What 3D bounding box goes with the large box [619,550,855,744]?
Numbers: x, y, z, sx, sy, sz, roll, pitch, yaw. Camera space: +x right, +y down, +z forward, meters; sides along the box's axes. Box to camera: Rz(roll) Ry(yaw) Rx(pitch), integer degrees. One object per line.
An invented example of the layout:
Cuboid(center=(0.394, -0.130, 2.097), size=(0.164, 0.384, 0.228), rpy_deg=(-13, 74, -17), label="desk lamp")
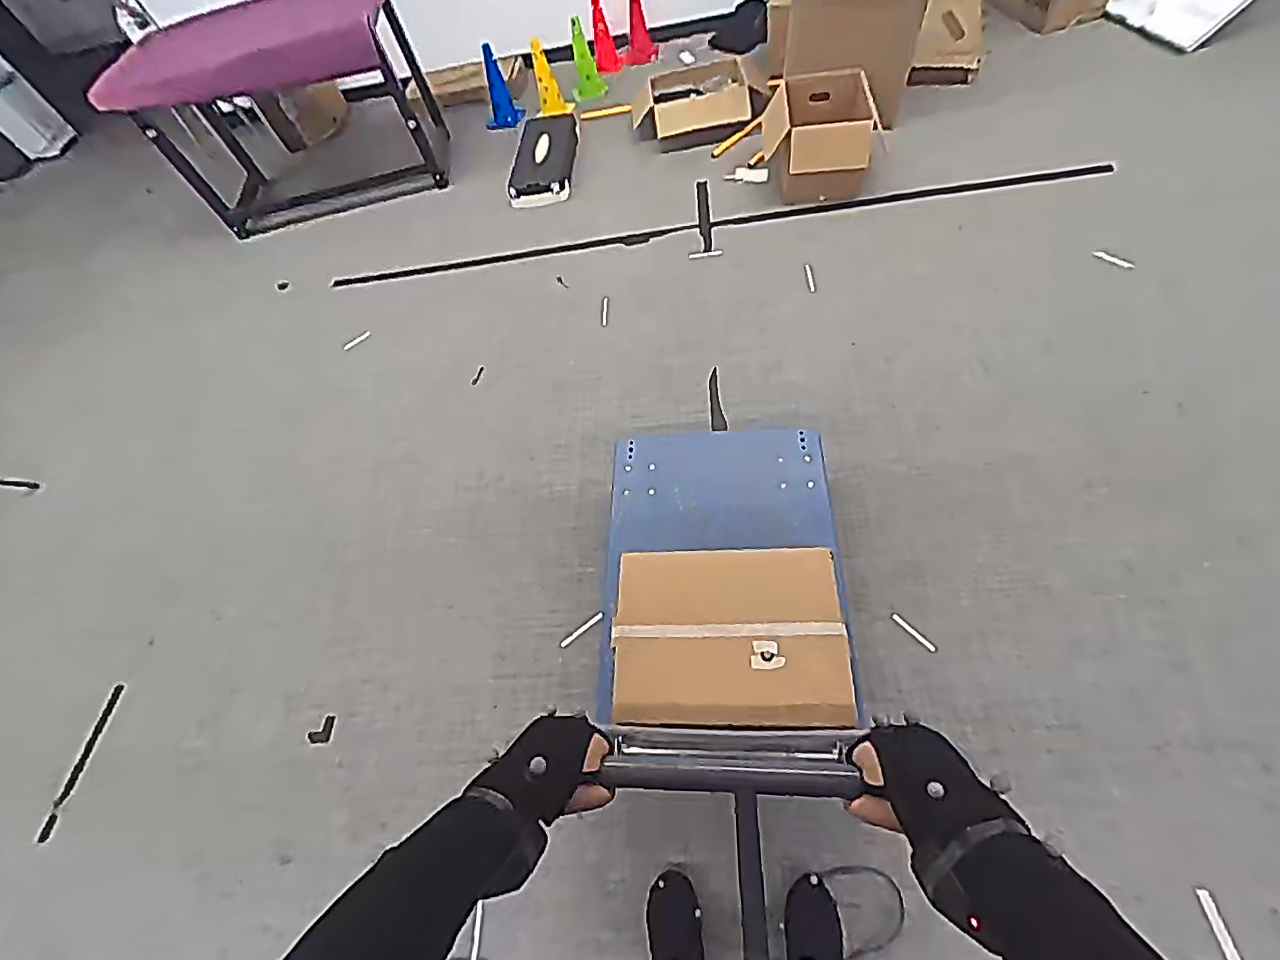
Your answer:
Cuboid(center=(0.179, 0.354, 1.109), size=(0.408, 0.320, 0.320), rpy_deg=(-3, 59, 7), label="large box")
